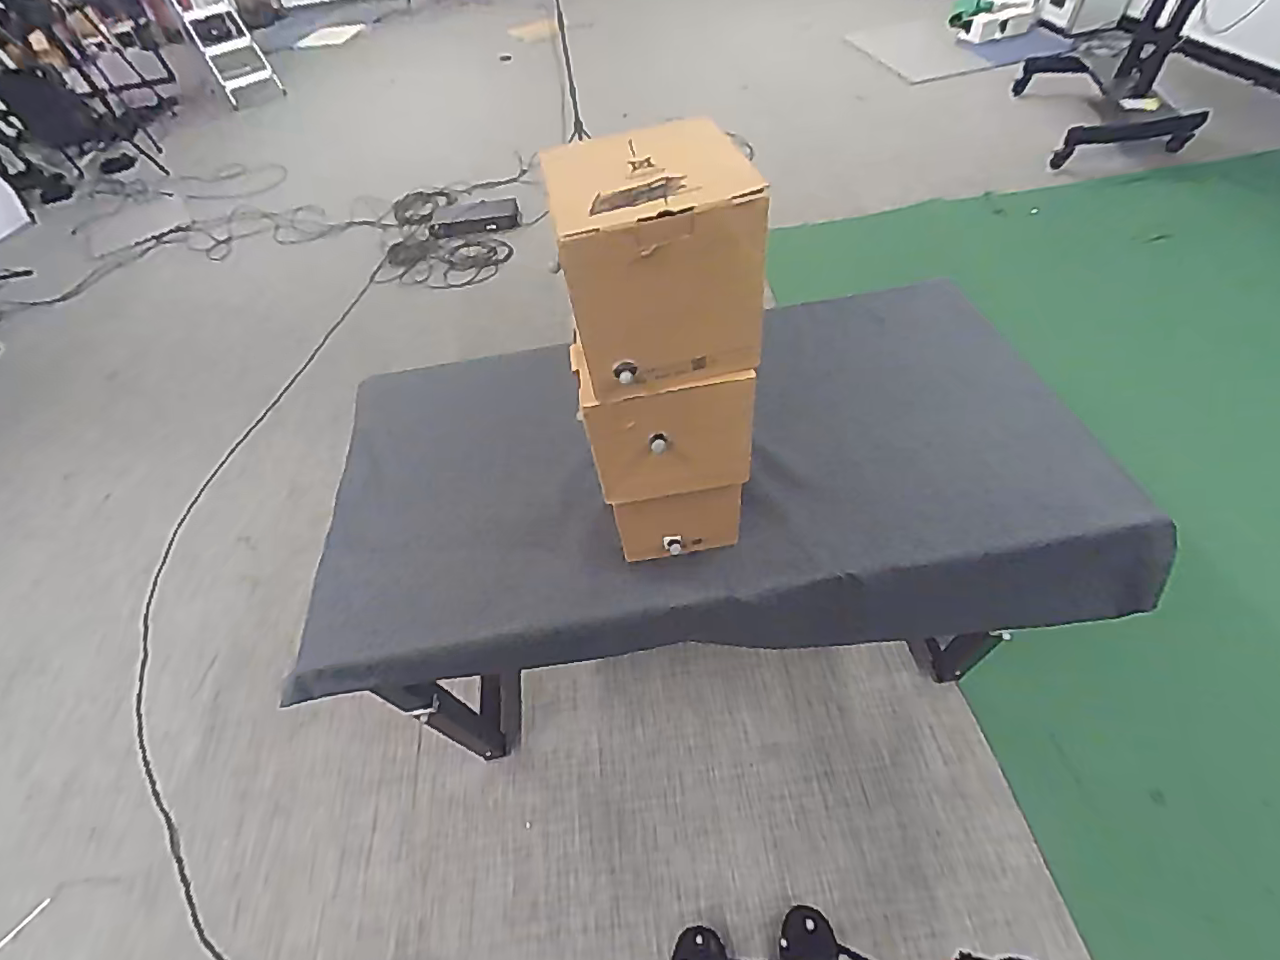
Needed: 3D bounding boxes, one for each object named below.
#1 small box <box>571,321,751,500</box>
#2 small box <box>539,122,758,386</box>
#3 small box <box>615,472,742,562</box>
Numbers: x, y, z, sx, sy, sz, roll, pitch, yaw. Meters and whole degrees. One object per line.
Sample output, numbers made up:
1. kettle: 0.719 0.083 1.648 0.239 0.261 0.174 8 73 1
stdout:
1. small box: 0.025 -0.096 0.647 0.179 0.176 0.168 -11 49 -1
2. small box: 0.008 -0.209 0.523 0.168 0.176 0.179 -13 50 -2
3. small box: 0.043 -0.008 0.781 0.168 0.176 0.179 -12 52 0
